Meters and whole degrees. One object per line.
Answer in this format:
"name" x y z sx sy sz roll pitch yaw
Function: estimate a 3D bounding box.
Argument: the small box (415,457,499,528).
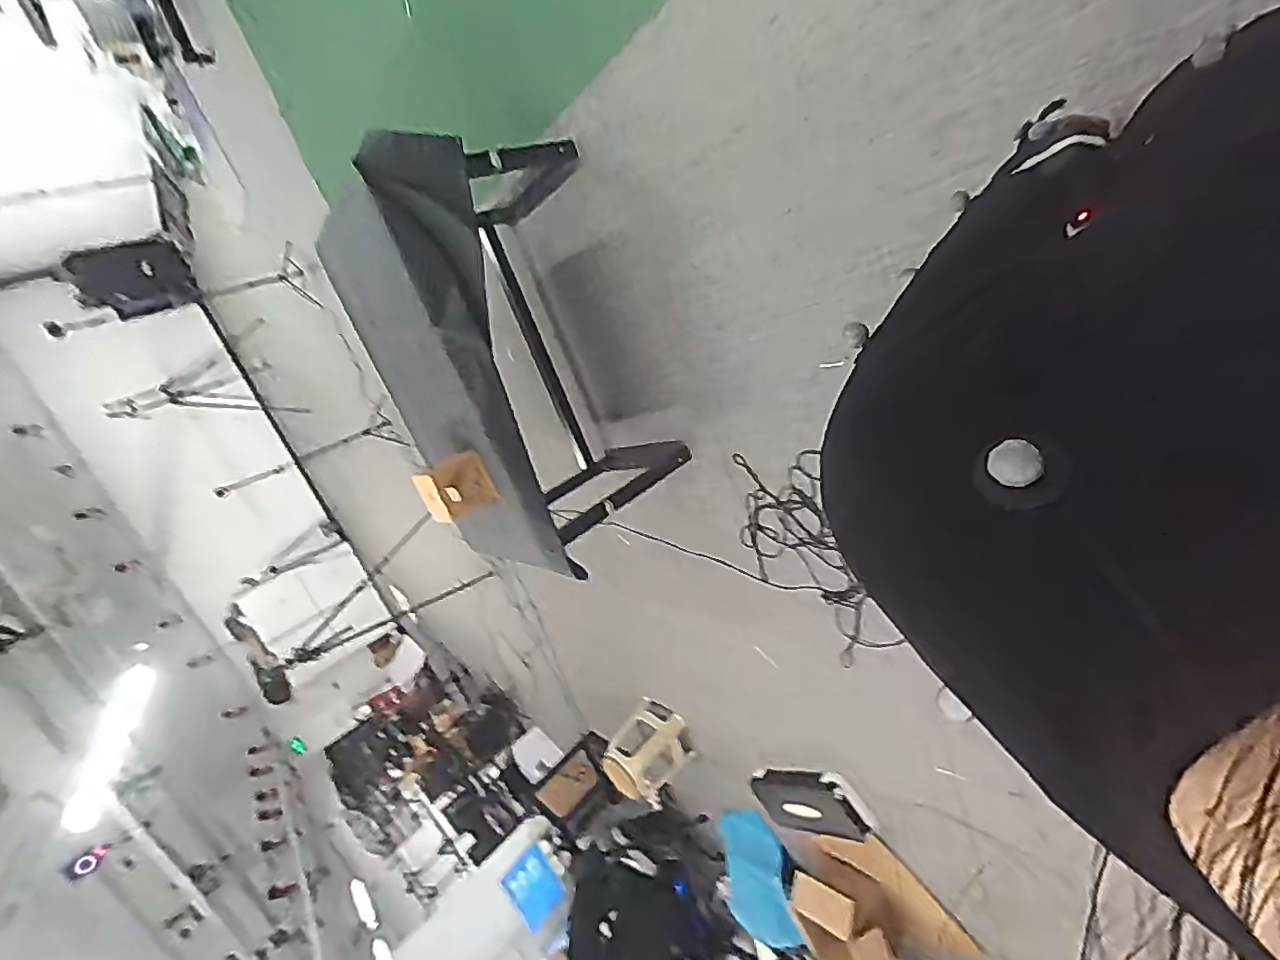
"small box" -0.575 0.036 1.703 0.179 0.176 0.168 -3 114 51
